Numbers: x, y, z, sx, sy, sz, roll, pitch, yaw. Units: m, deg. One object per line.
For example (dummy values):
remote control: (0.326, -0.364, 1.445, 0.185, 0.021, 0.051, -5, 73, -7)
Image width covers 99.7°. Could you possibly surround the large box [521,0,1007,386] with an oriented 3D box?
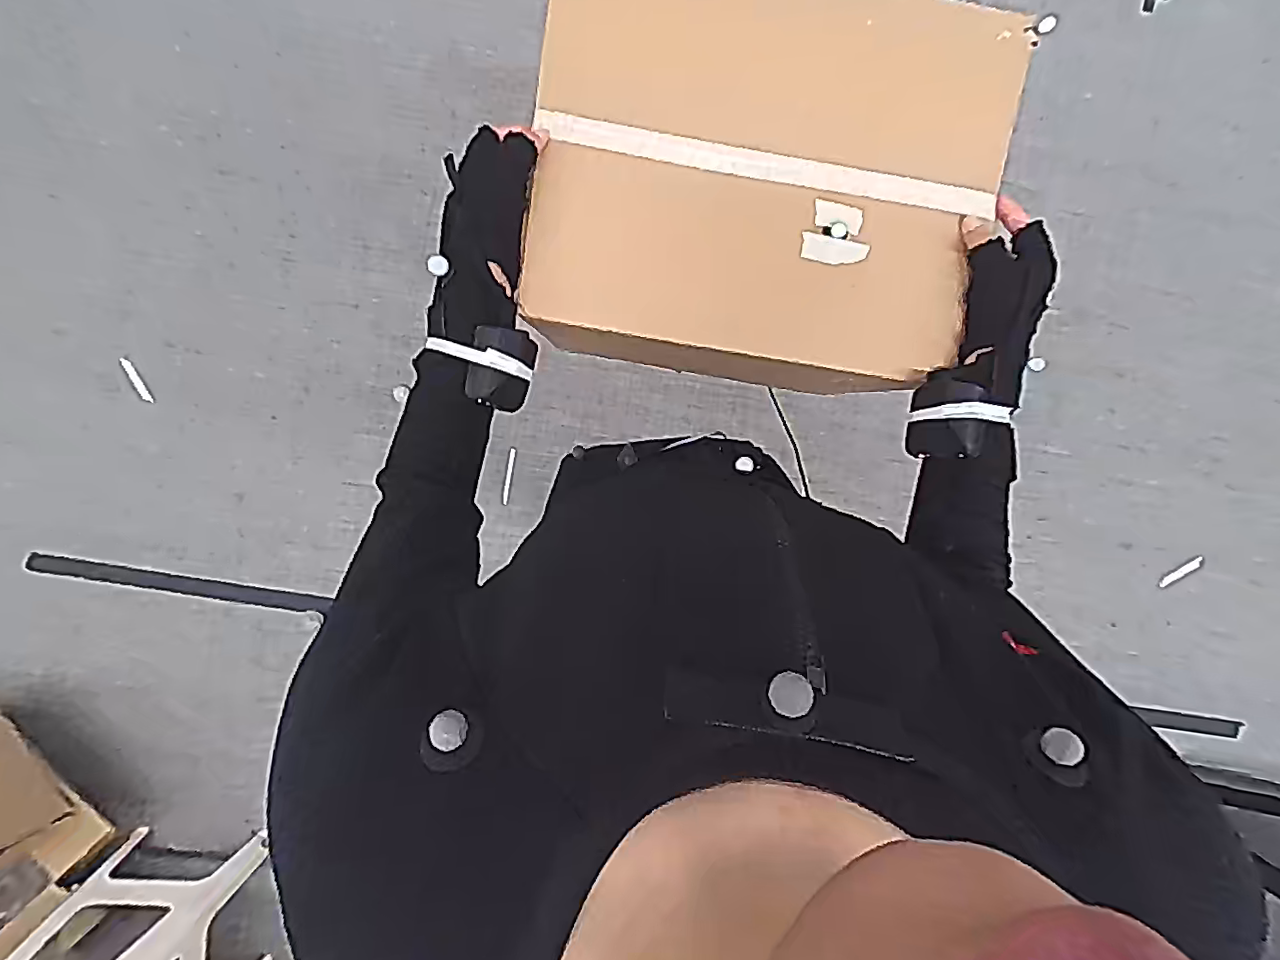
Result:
large box: (0.099, -0.295, 0.628, 0.408, 0.320, 0.320, 9, 99, -4)
